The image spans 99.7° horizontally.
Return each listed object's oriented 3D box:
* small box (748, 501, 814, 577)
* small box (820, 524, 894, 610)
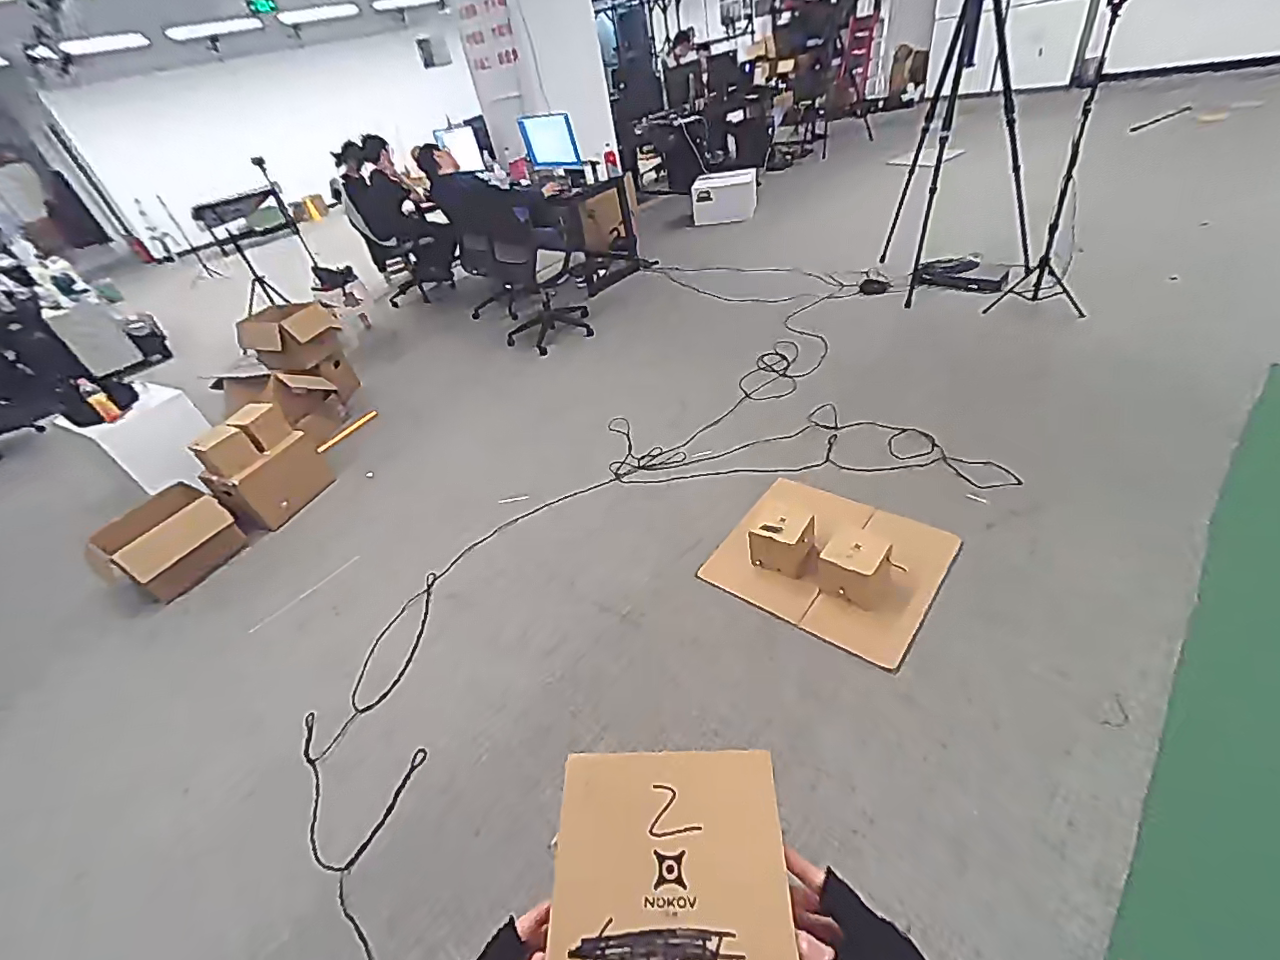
[{"bbox_3d":[0.491,0.205,1.867,0.168,0.176,0.179,17,47,34],"label":"small box"},{"bbox_3d":[0.687,0.276,1.725,0.168,0.176,0.179,21,50,37],"label":"small box"}]
